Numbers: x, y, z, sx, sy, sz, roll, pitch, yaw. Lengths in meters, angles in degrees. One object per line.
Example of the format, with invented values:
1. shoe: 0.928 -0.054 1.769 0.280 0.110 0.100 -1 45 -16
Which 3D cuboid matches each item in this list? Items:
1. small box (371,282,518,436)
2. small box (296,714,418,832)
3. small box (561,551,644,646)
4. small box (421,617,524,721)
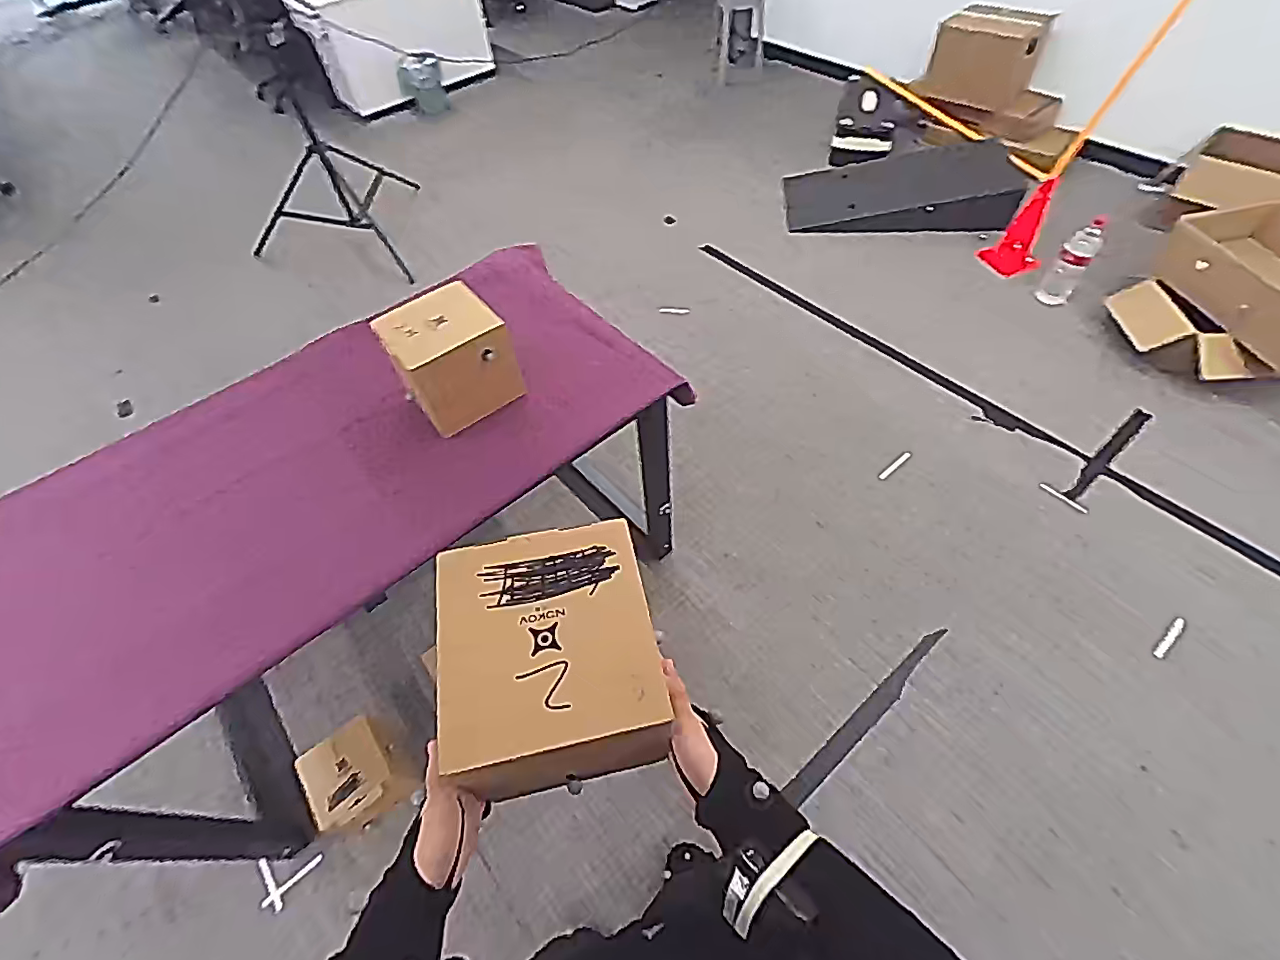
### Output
1. small box: -0.337 -0.215 0.971 0.179 0.176 0.168 -35 59 -18
2. small box: -0.650 0.683 1.259 0.168 0.176 0.179 -35 59 -19
3. small box: -0.098 0.325 1.472 0.179 0.176 0.168 -22 58 -10
4. small box: -0.420 0.490 1.380 0.168 0.176 0.179 -34 59 -19
